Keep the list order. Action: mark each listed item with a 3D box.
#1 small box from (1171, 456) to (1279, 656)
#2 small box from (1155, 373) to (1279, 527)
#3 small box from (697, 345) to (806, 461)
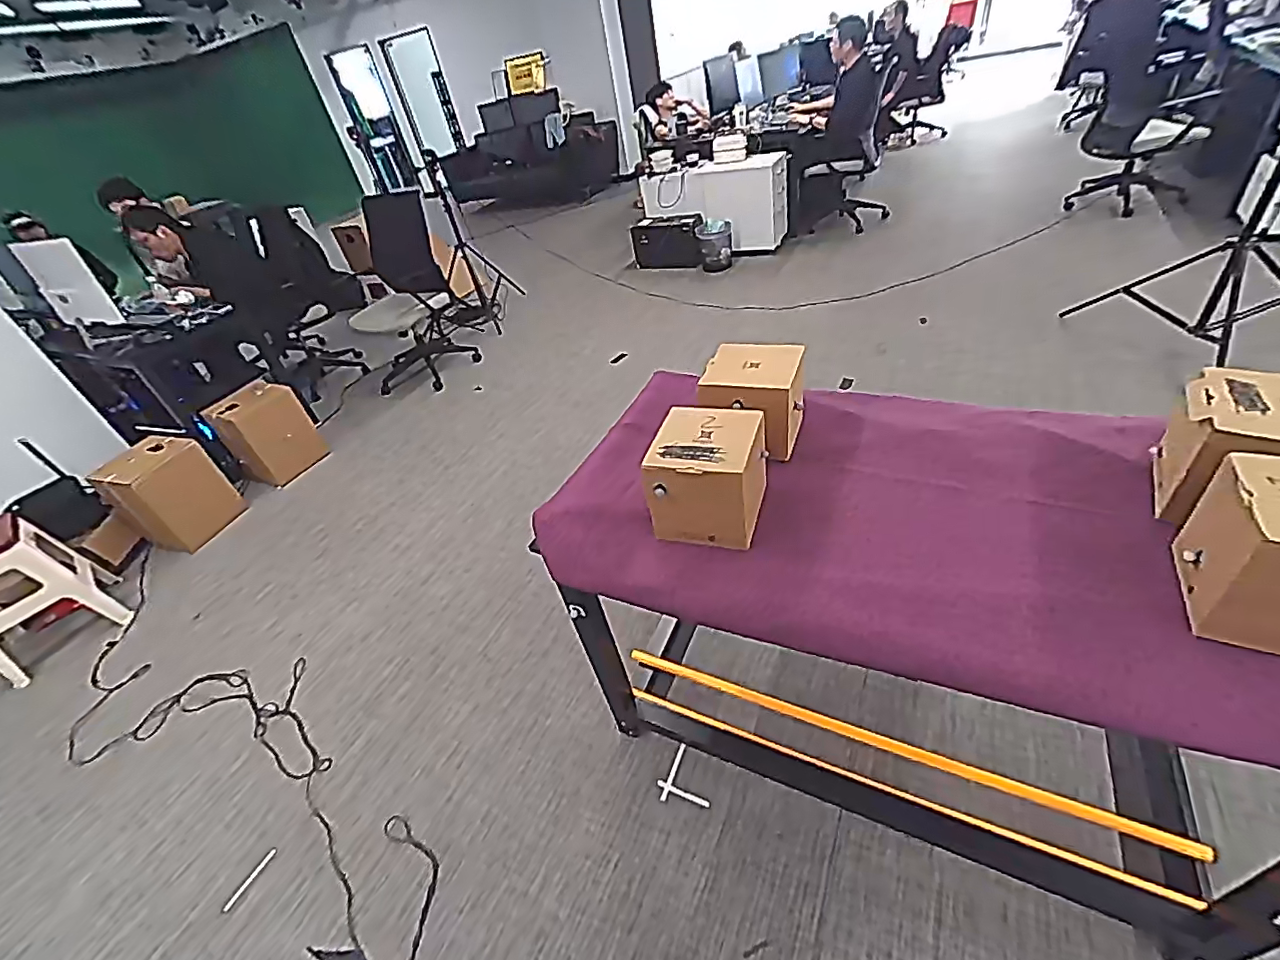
[{"bbox_3d":[0.776,0.098,0.628,0.179,0.176,0.168,11,43,28],"label":"small box"},{"bbox_3d":[0.864,-0.028,0.757,0.179,0.176,0.168,16,48,30],"label":"small box"},{"bbox_3d":[0.231,-0.155,1.094,0.179,0.176,0.168,8,43,24],"label":"small box"}]
